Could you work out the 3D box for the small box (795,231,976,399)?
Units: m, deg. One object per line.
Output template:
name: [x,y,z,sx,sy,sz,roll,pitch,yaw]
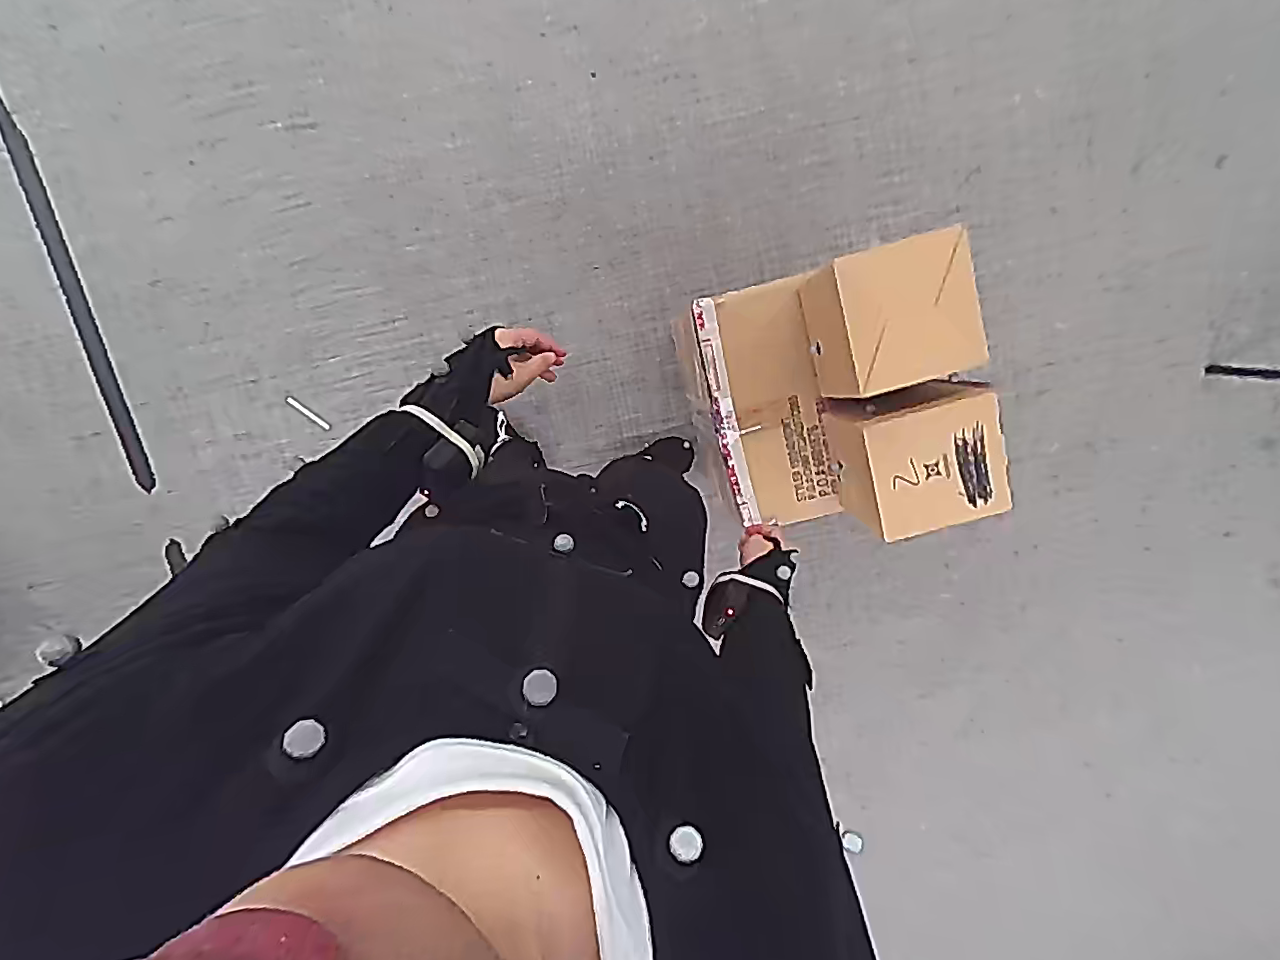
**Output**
small box: [0.336,-0.218,0.758,0.168,0.176,0.179,-15,99,3]
